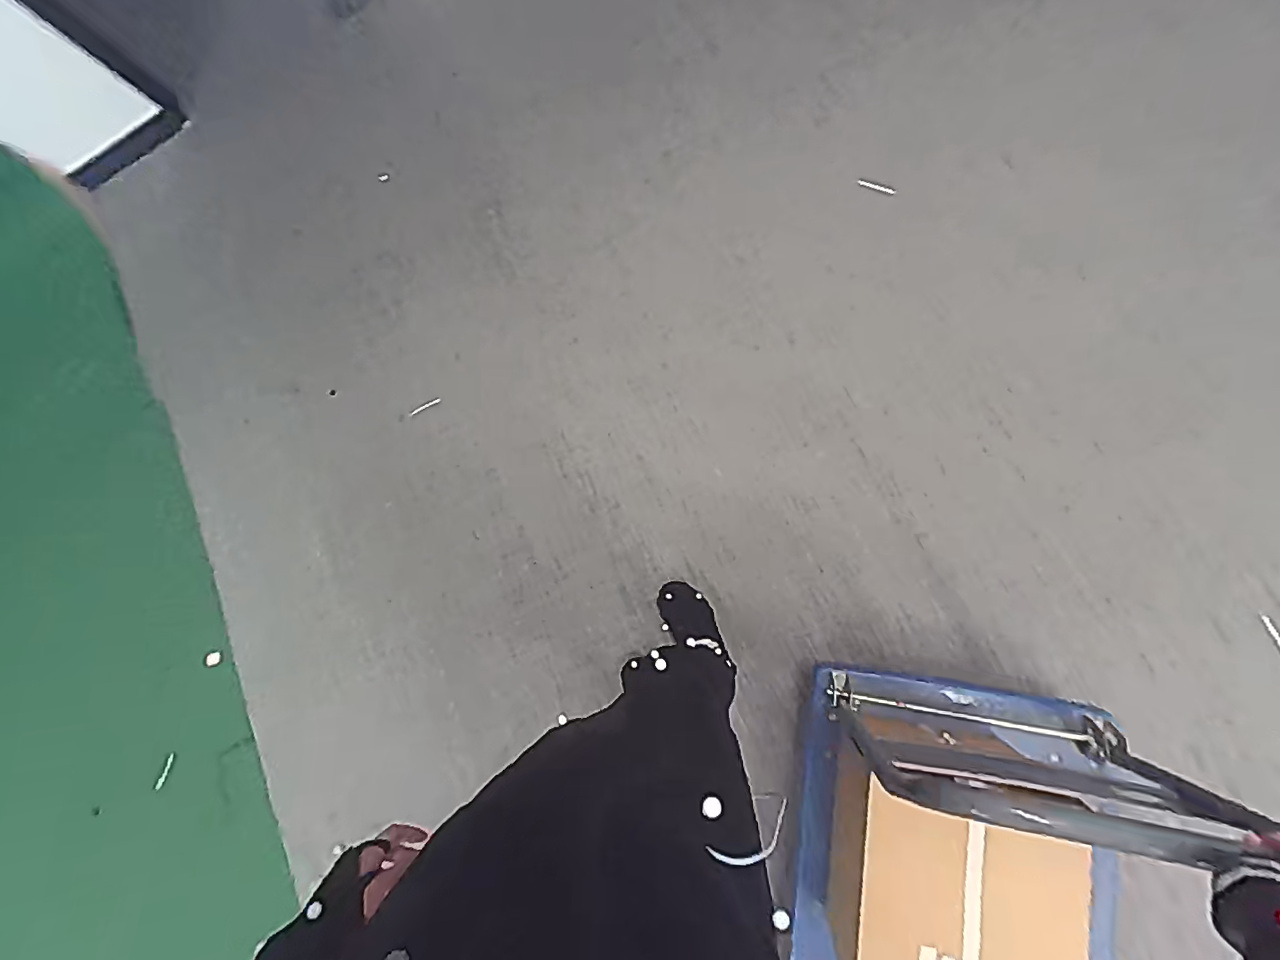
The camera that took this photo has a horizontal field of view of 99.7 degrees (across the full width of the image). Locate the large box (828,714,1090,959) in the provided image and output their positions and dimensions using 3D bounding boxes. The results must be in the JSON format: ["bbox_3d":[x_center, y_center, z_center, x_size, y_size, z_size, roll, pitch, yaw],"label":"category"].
[{"bbox_3d":[0.528,0.686,0.961,0.320,0.320,0.408,6,85,13],"label":"large box"}]
